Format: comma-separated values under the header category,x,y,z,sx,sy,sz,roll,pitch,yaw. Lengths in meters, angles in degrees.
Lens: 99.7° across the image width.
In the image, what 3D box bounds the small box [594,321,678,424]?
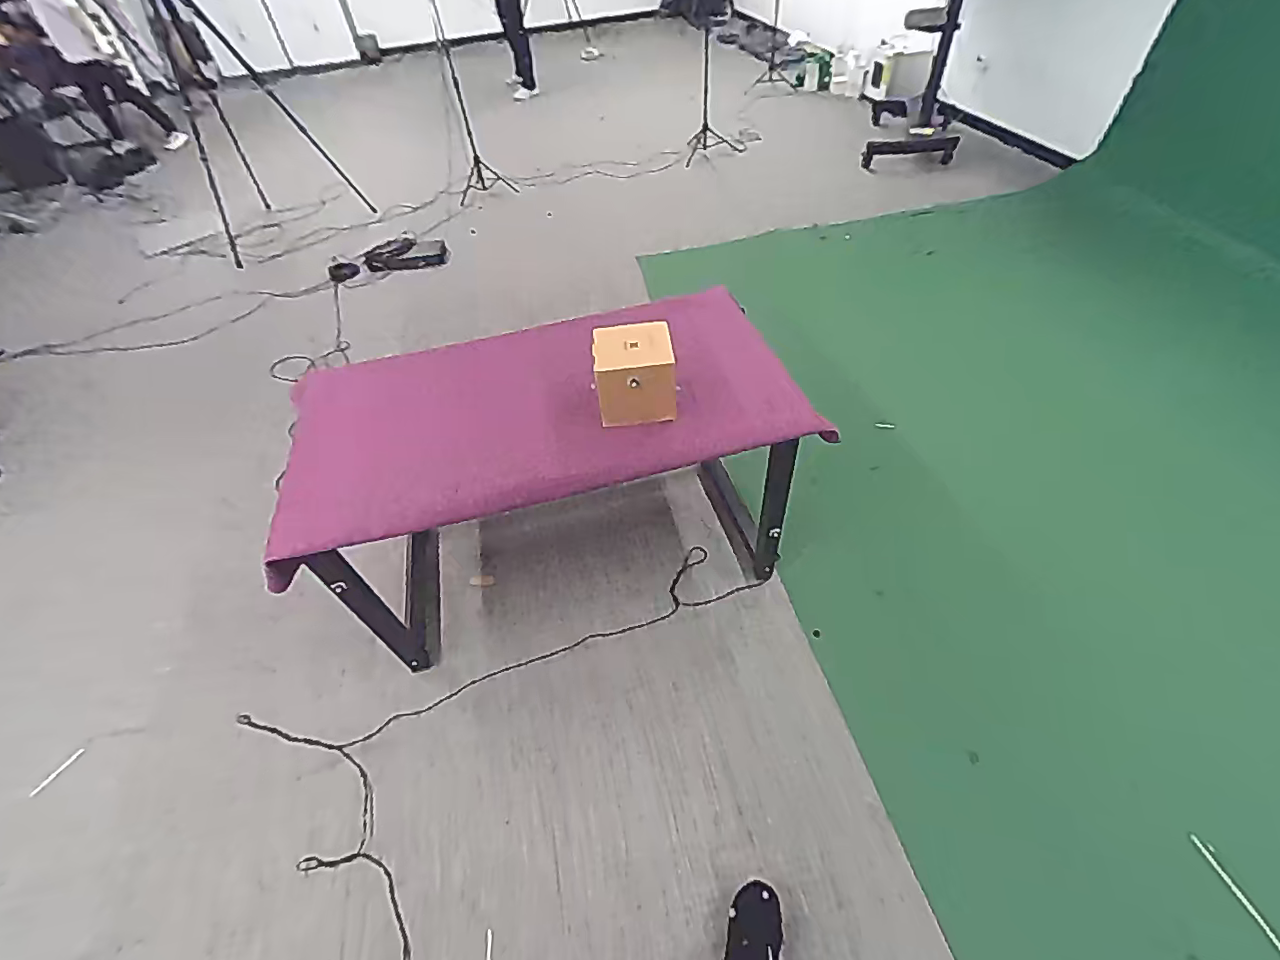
category,x,y,z,sx,sy,sz,roll,pitch,yaw
small box,-0.008,-0.244,1.251,0.179,0.176,0.168,-5,49,0
